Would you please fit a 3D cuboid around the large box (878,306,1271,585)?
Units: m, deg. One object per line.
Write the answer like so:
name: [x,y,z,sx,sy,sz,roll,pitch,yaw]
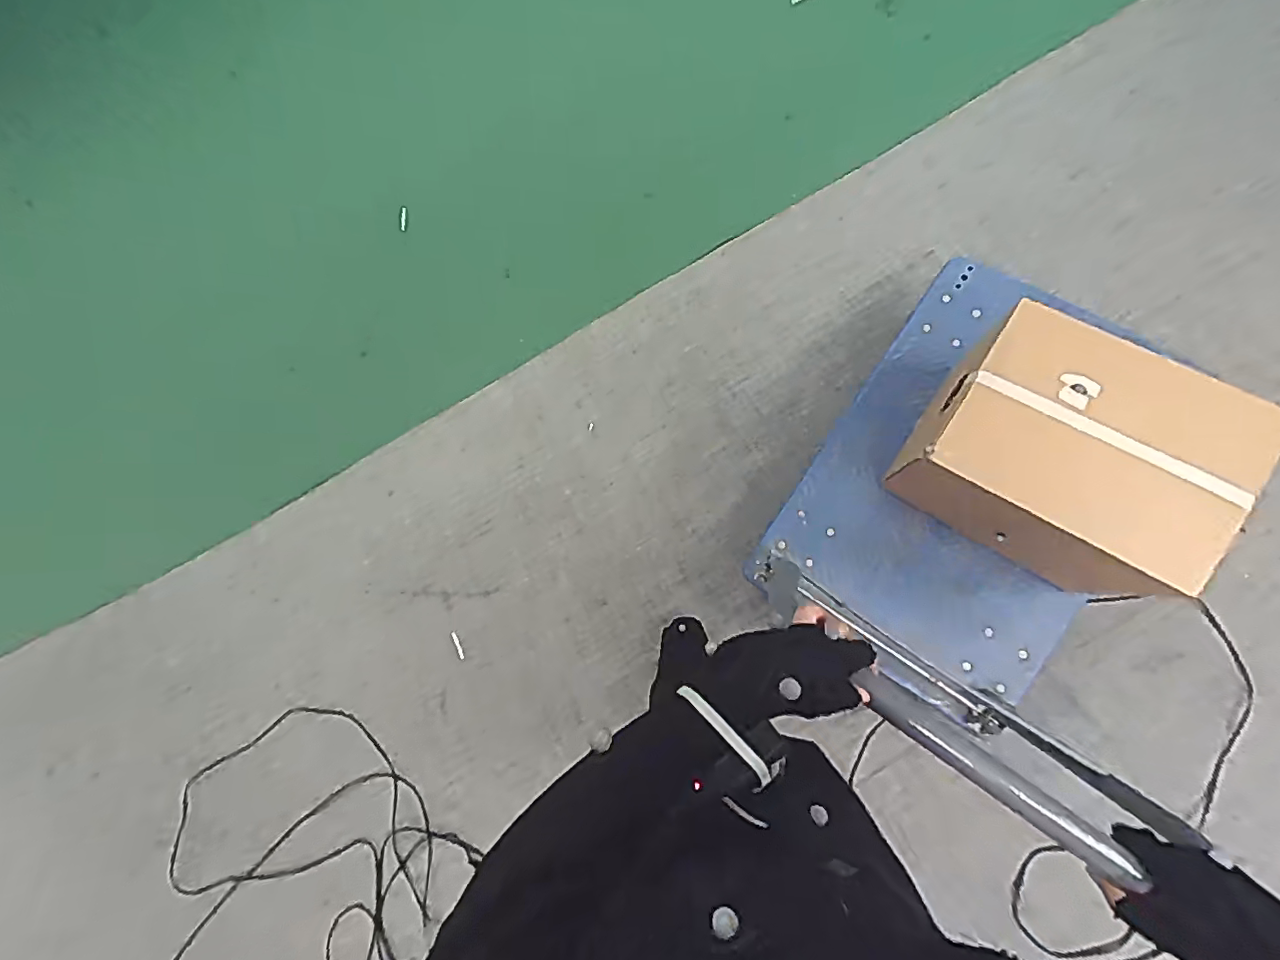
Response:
large box: [0.725,-0.044,0.986,0.408,0.320,0.320,31,87,15]
